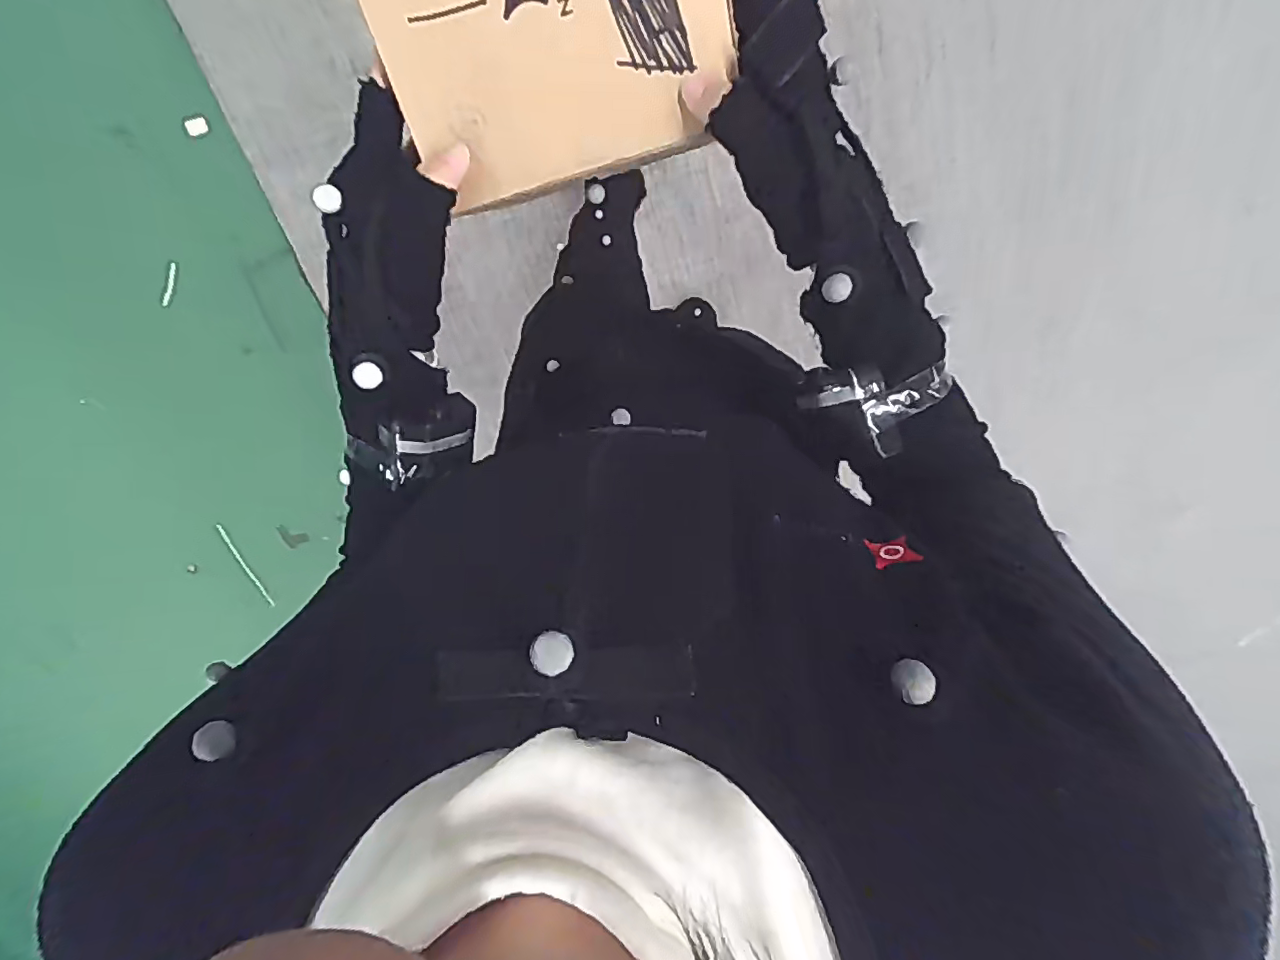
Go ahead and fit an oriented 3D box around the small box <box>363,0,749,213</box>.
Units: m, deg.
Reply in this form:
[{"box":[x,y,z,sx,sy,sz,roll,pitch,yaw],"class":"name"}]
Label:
[{"box":[-0.047,-0.282,0.329,0.179,0.176,0.168,-15,118,10],"class":"small box"}]
